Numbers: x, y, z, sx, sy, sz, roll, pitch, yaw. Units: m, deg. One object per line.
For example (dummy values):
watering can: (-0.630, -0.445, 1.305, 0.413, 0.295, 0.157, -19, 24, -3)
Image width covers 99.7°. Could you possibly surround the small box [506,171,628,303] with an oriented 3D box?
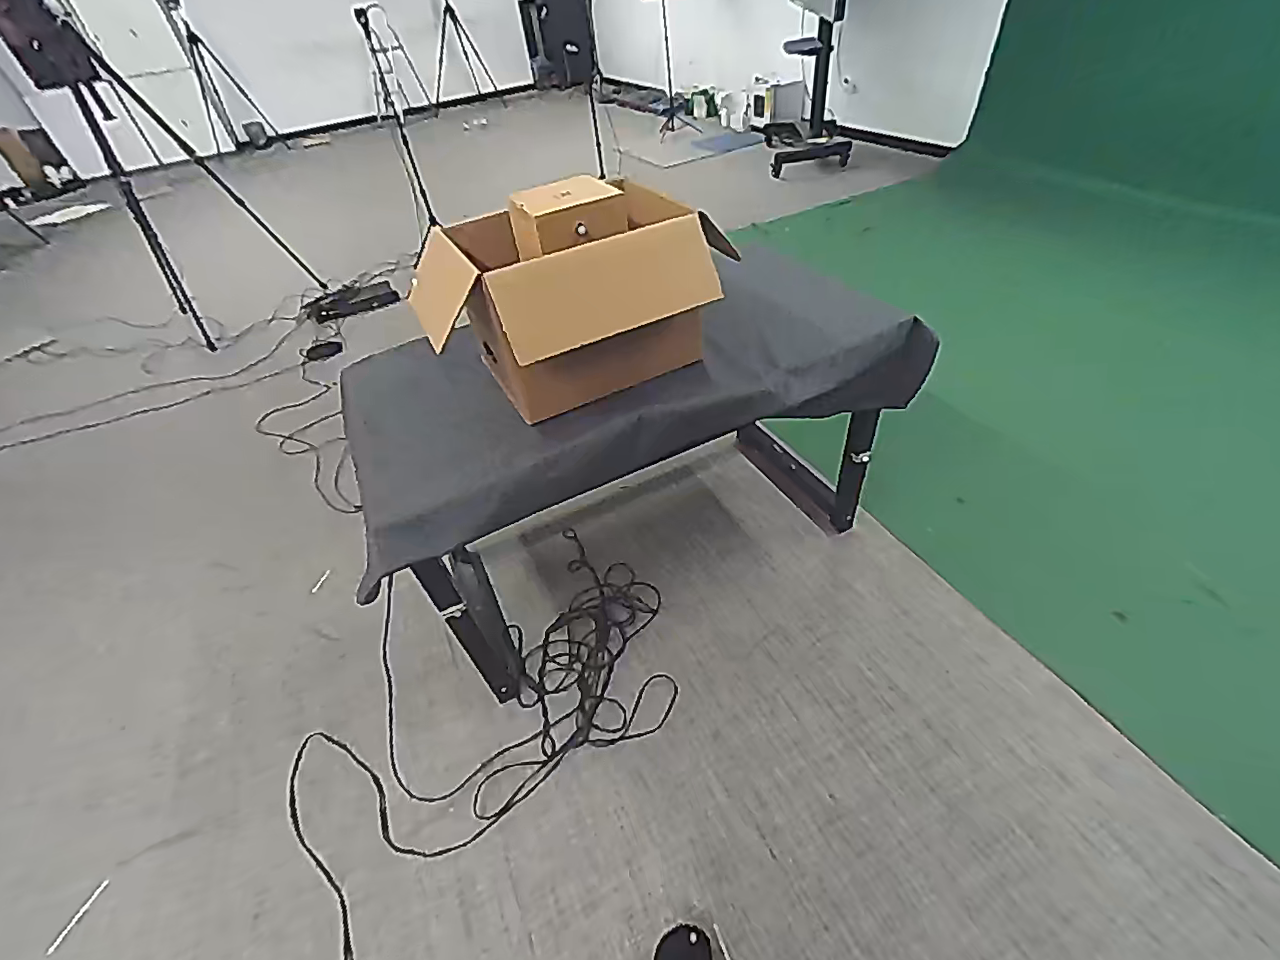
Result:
small box: (-0.132, -0.465, 1.033, 0.179, 0.176, 0.168, -24, 46, -16)
